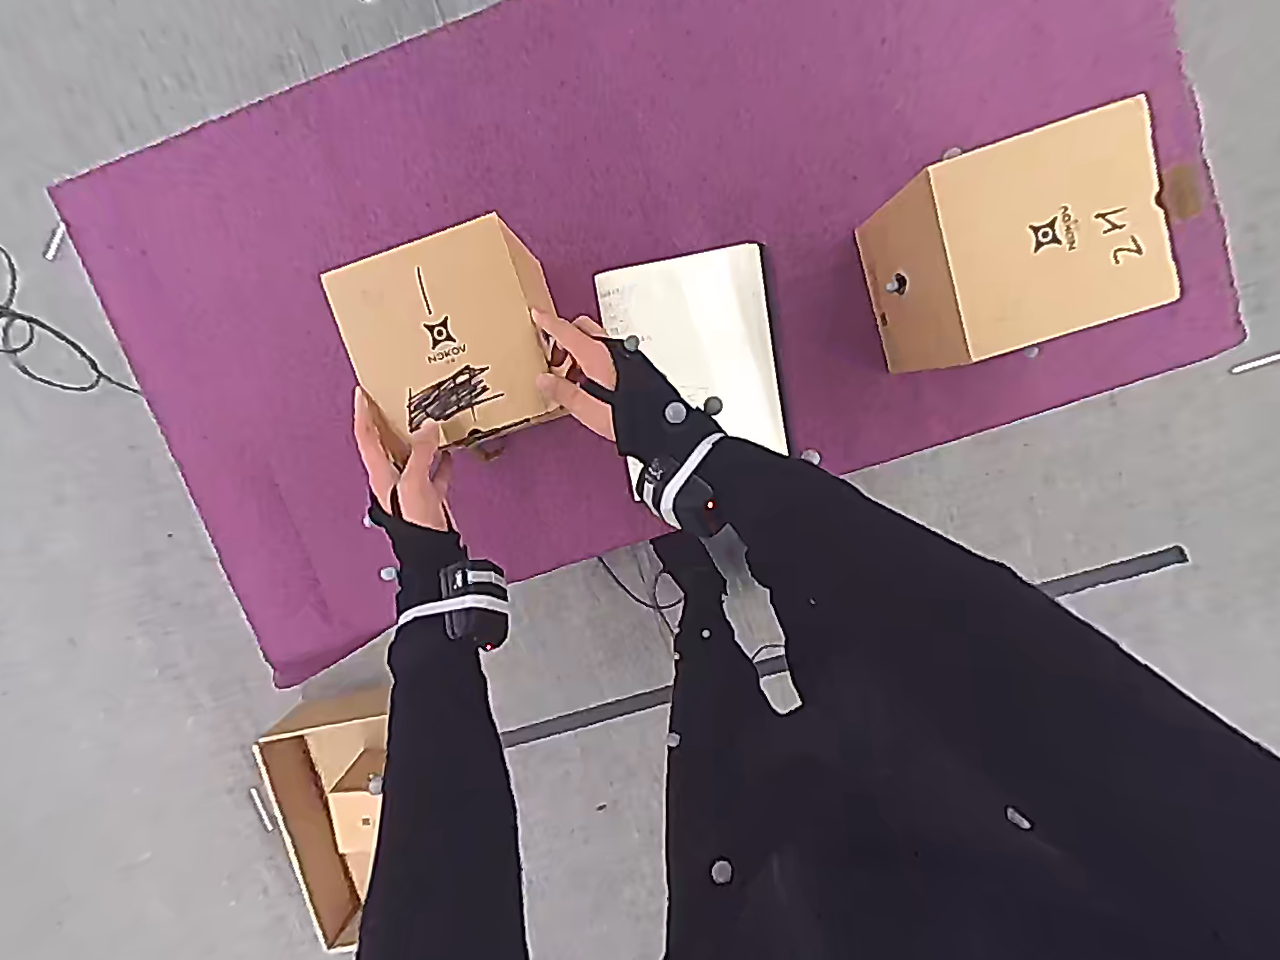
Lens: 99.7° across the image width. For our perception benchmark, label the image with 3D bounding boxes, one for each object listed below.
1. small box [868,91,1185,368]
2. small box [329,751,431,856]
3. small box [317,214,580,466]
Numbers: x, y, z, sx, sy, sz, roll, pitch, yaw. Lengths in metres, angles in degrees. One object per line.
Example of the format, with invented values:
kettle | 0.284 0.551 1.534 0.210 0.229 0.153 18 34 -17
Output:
small box | 0.337 -0.211 0.512 0.179 0.176 0.168 -17 97 4
small box | -0.652 0.818 1.383 0.179 0.176 0.168 -4 98 2
small box | -0.169 -0.128 0.542 0.168 0.176 0.179 -18 97 4
